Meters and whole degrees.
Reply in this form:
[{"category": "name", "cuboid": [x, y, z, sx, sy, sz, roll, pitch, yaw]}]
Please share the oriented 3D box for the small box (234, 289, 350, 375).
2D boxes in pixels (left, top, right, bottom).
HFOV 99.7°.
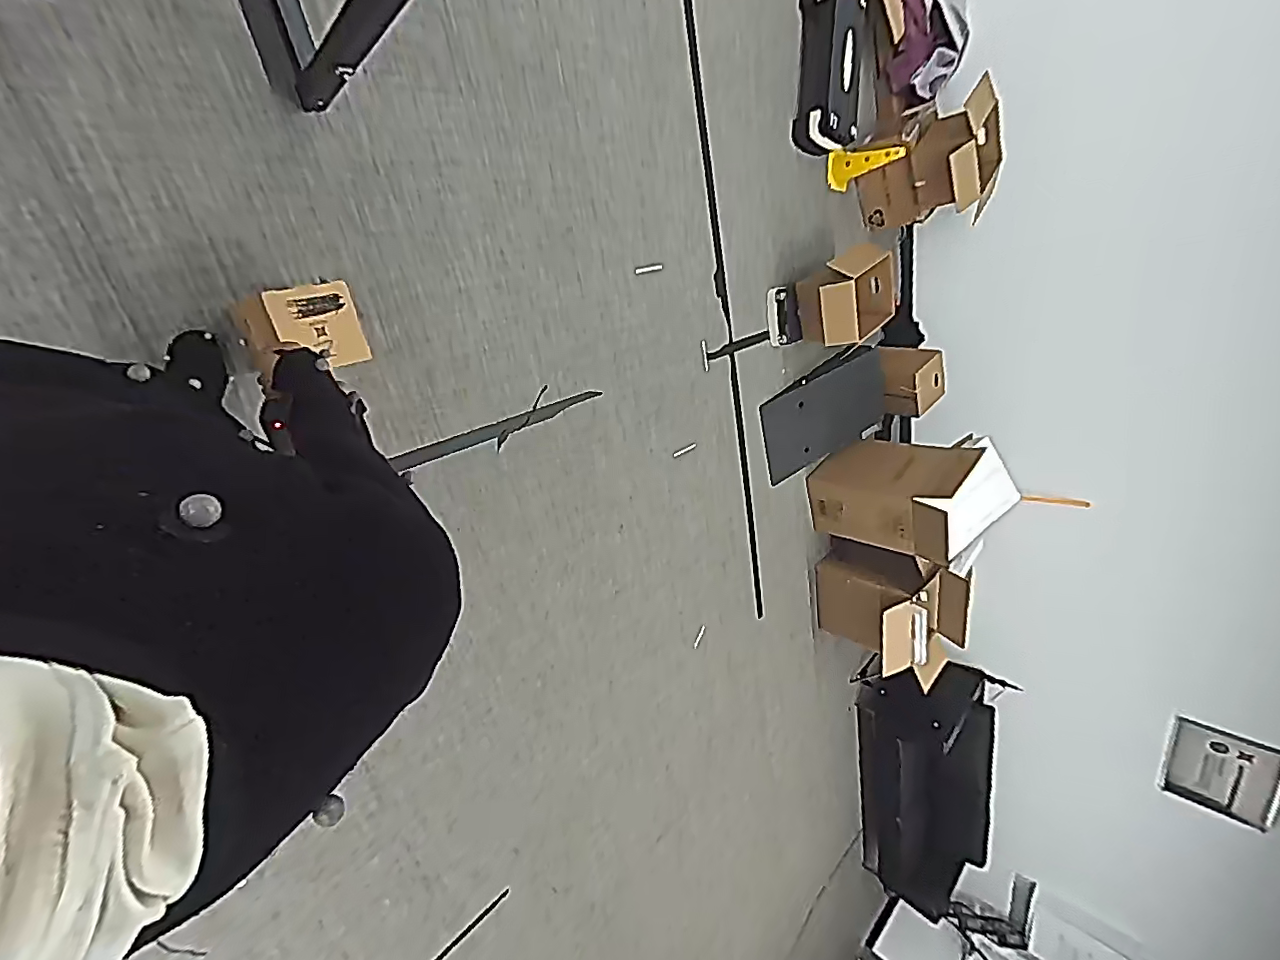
[{"category": "small box", "cuboid": [-0.849, -0.361, 1.318, 0.179, 0.176, 0.168, -29, 118, -35]}]
